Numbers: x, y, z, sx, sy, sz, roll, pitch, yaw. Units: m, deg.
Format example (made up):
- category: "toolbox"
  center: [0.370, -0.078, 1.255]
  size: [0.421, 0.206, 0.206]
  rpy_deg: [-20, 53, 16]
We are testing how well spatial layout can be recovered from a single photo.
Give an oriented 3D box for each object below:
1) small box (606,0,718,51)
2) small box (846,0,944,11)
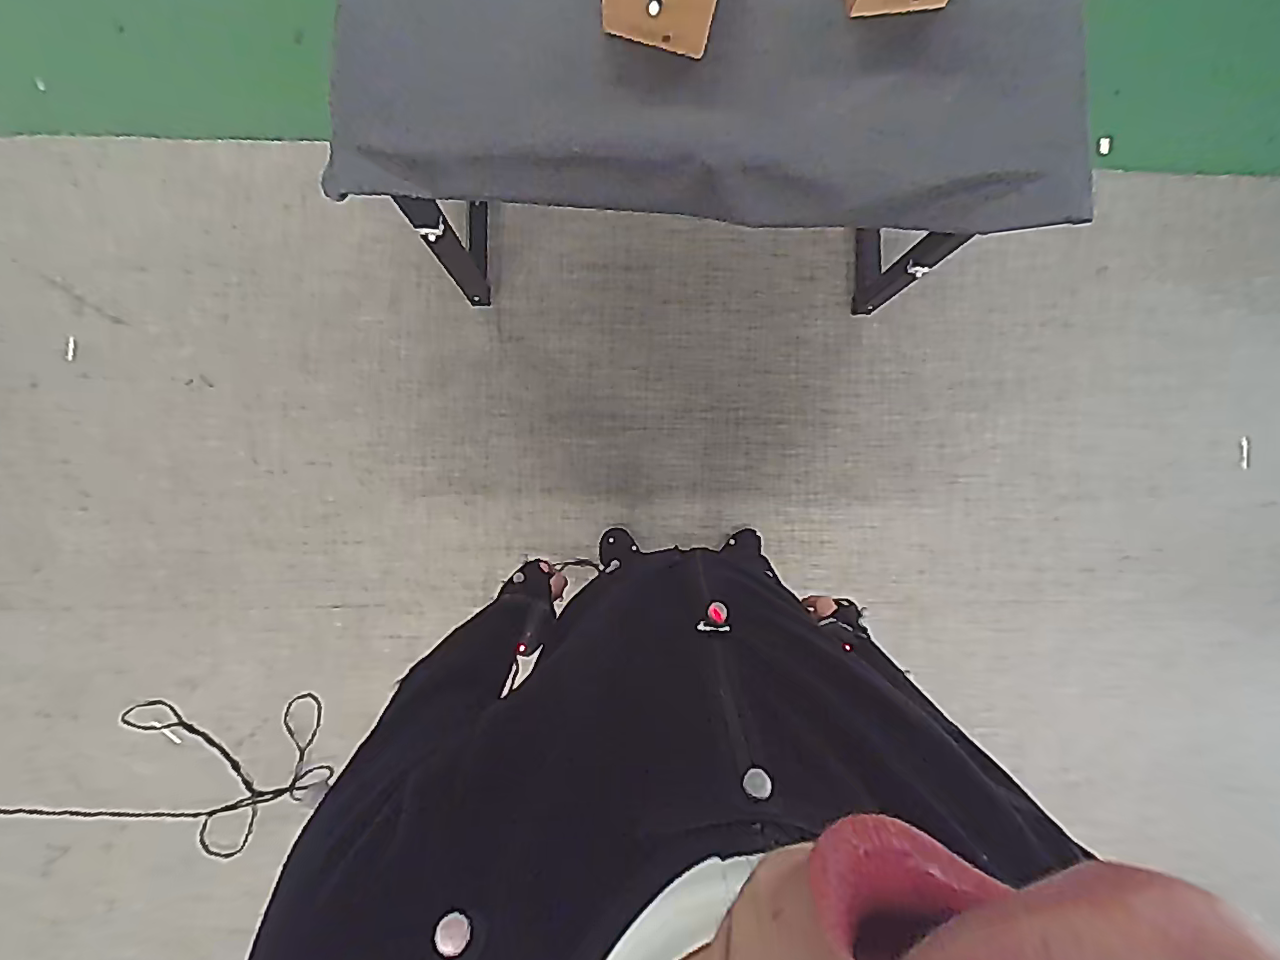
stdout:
- category: "small box"
  center: [0.048, -0.782, 0.784]
  size: [0.168, 0.176, 0.179]
  rpy_deg: [15, 87, -3]
- category: "small box"
  center: [0.412, -0.851, 0.809]
  size: [0.168, 0.176, 0.179]
  rpy_deg: [-8, 87, -5]
